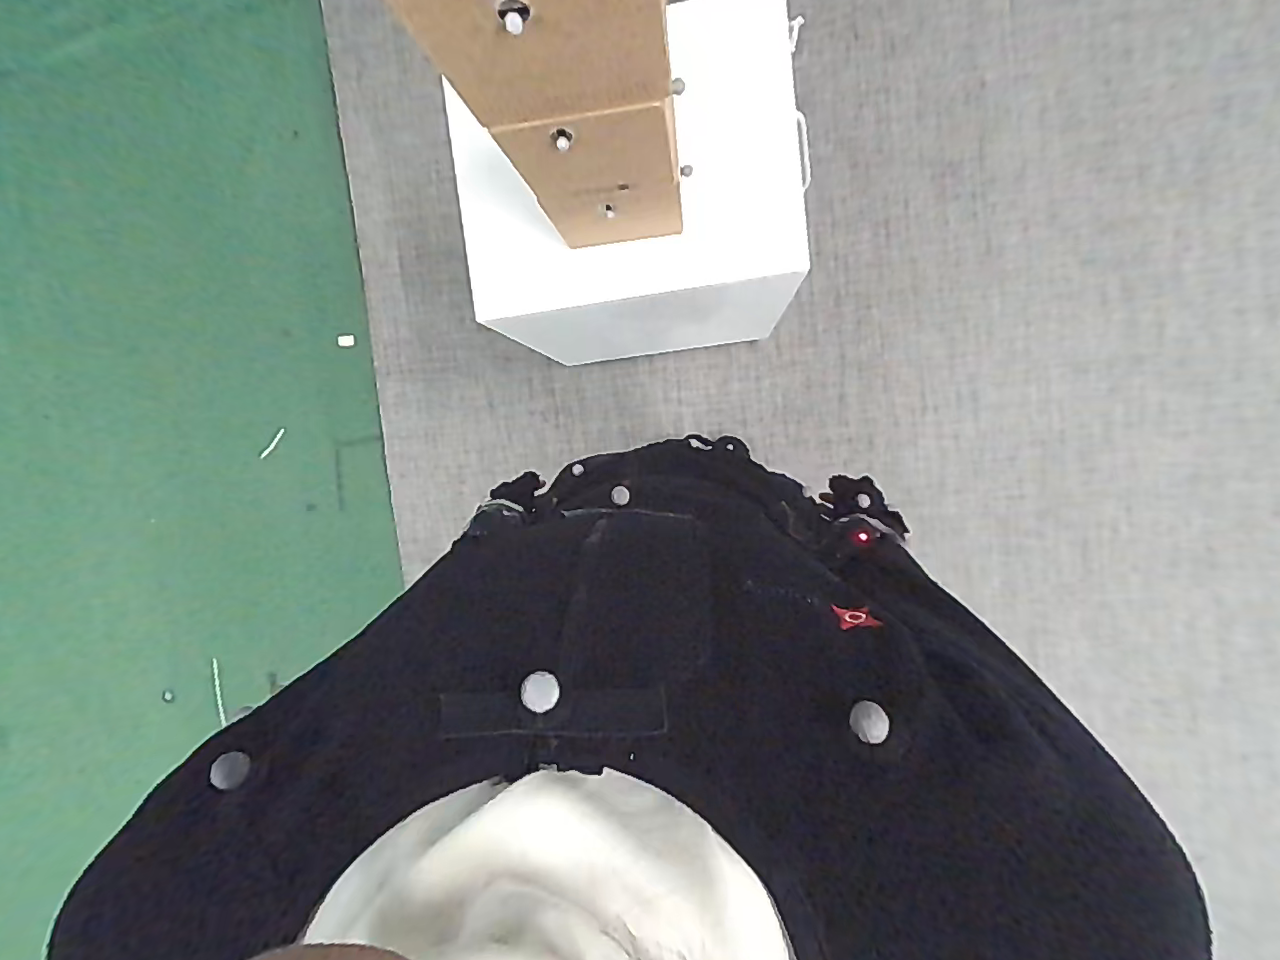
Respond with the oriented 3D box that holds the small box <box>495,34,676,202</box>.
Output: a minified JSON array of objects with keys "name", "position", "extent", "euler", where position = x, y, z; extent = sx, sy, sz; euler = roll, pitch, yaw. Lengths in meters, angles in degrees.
[{"name":"small box","position":[-0.053,-0.422,0.563],"extent":[0.168,0.176,0.179],"euler":[-6,95,7]}]

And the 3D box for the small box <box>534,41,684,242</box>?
[{"name":"small box","position":[-0.037,-0.435,0.722],"extent":[0.179,0.176,0.168],"euler":[-5,95,7]}]

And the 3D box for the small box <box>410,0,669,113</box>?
[{"name":"small box","position":[-0.076,-0.406,0.398],"extent":[0.179,0.176,0.168],"euler":[-3,95,7]}]
